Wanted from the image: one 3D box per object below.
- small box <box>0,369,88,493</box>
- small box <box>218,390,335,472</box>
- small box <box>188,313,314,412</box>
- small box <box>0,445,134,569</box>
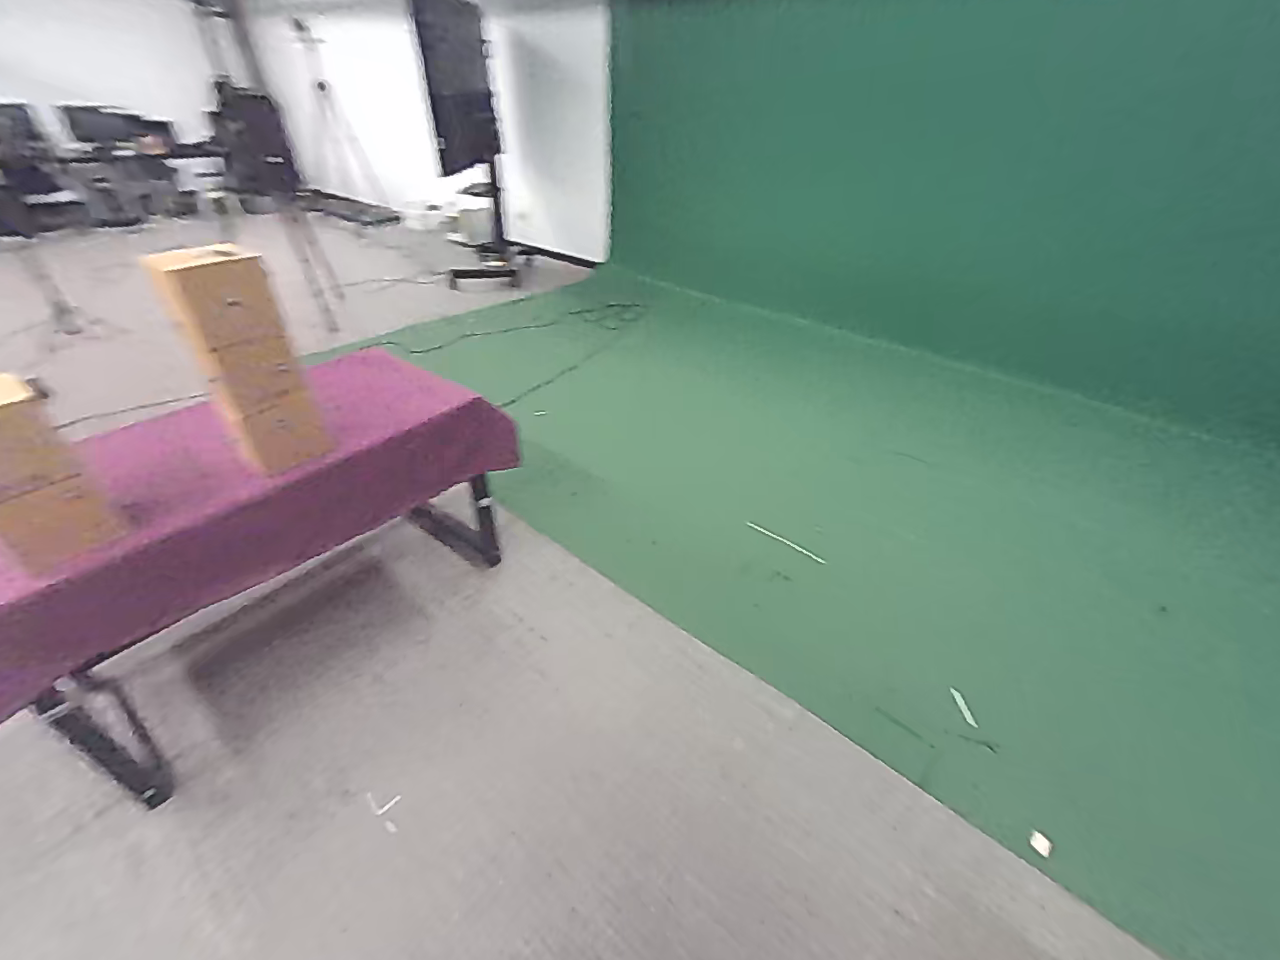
[{"bbox_3d":[-1.195,-0.085,1.010,0.179,0.176,0.168,24,40,30],"label":"small box"},{"bbox_3d":[-0.921,-0.145,1.384,0.168,0.176,0.179,28,43,30],"label":"small box"},{"bbox_3d":[-0.921,-0.280,1.292,0.179,0.176,0.168,25,41,29],"label":"small box"},{"bbox_3d":[-1.199,0.050,1.103,0.168,0.176,0.179,26,41,29],"label":"small box"}]
